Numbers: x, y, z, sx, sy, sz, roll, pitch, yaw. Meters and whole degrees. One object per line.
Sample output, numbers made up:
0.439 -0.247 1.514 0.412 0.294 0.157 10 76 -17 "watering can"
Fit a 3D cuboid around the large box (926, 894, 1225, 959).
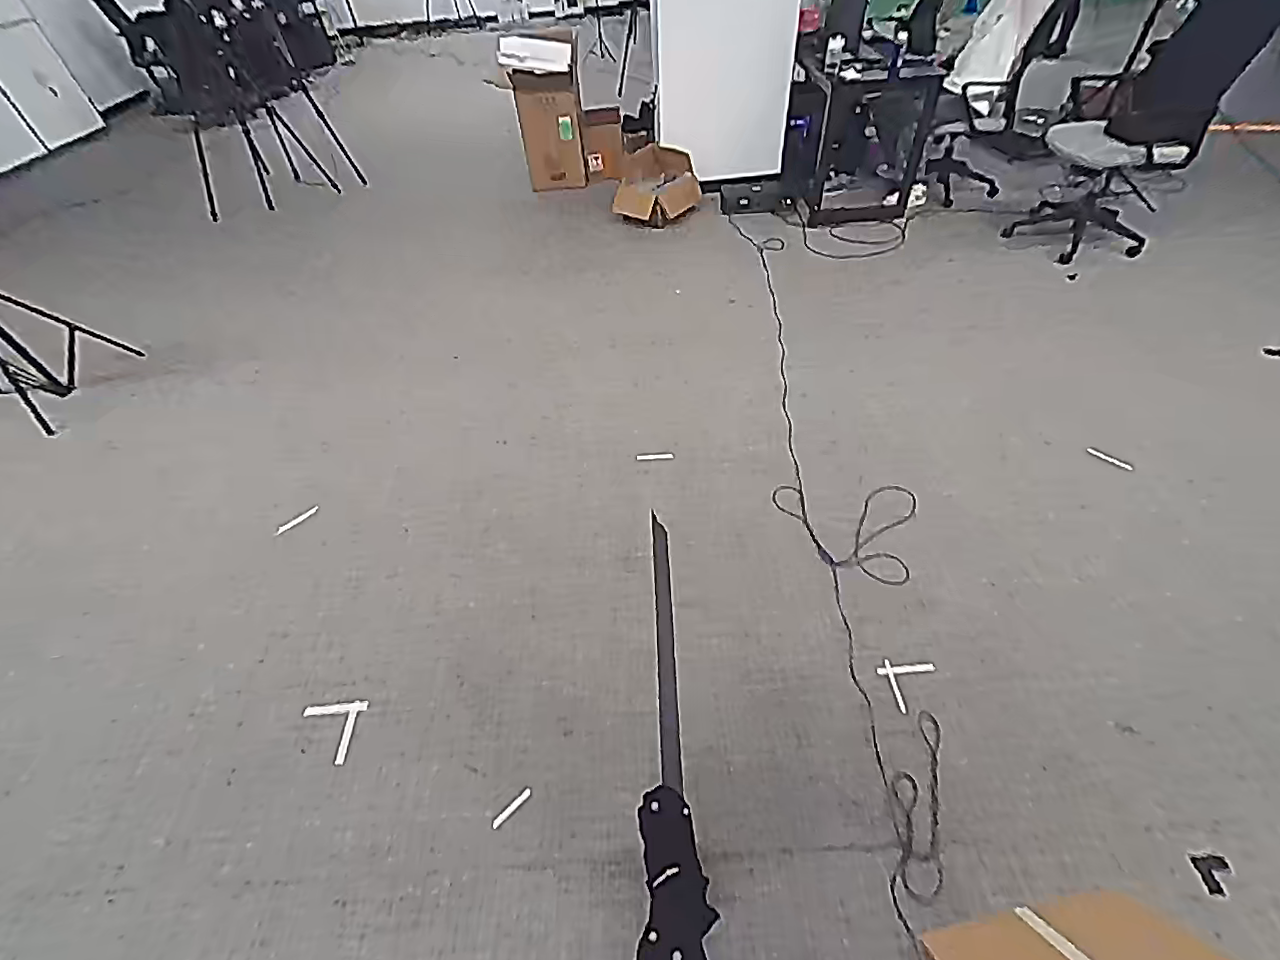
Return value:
0.590 0.744 0.571 0.320 0.408 0.320 -12 79 -2 "large box"
